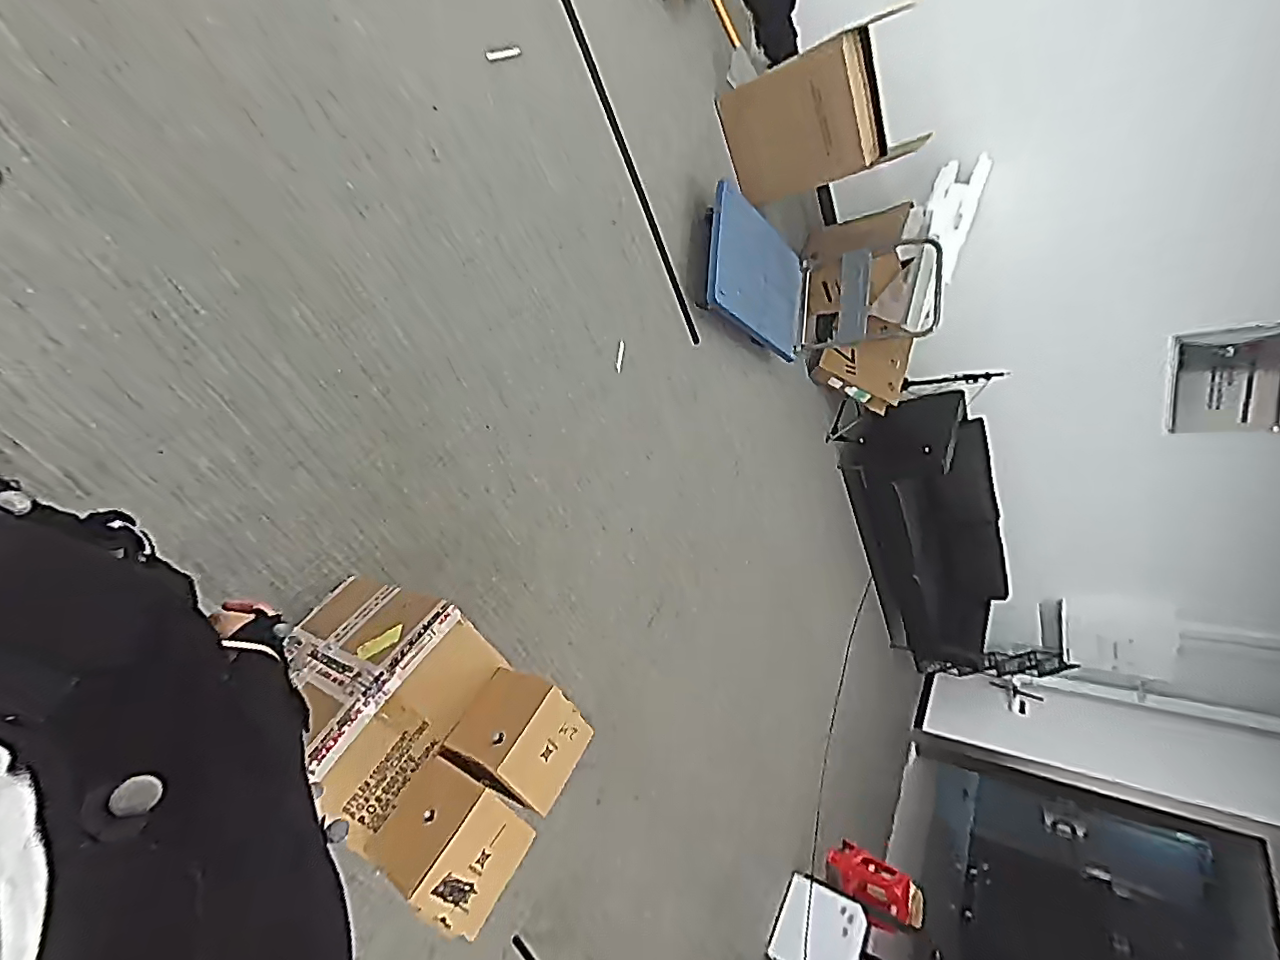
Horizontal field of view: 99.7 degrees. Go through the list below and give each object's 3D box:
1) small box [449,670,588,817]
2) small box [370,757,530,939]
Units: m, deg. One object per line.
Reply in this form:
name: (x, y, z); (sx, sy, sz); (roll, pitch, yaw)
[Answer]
small box: (-0.239, 0.497, 1.043); (0.179, 0.176, 0.168); (-53, 127, -39)
small box: (-0.333, 0.622, 0.932); (0.179, 0.176, 0.168); (-52, 126, -36)
